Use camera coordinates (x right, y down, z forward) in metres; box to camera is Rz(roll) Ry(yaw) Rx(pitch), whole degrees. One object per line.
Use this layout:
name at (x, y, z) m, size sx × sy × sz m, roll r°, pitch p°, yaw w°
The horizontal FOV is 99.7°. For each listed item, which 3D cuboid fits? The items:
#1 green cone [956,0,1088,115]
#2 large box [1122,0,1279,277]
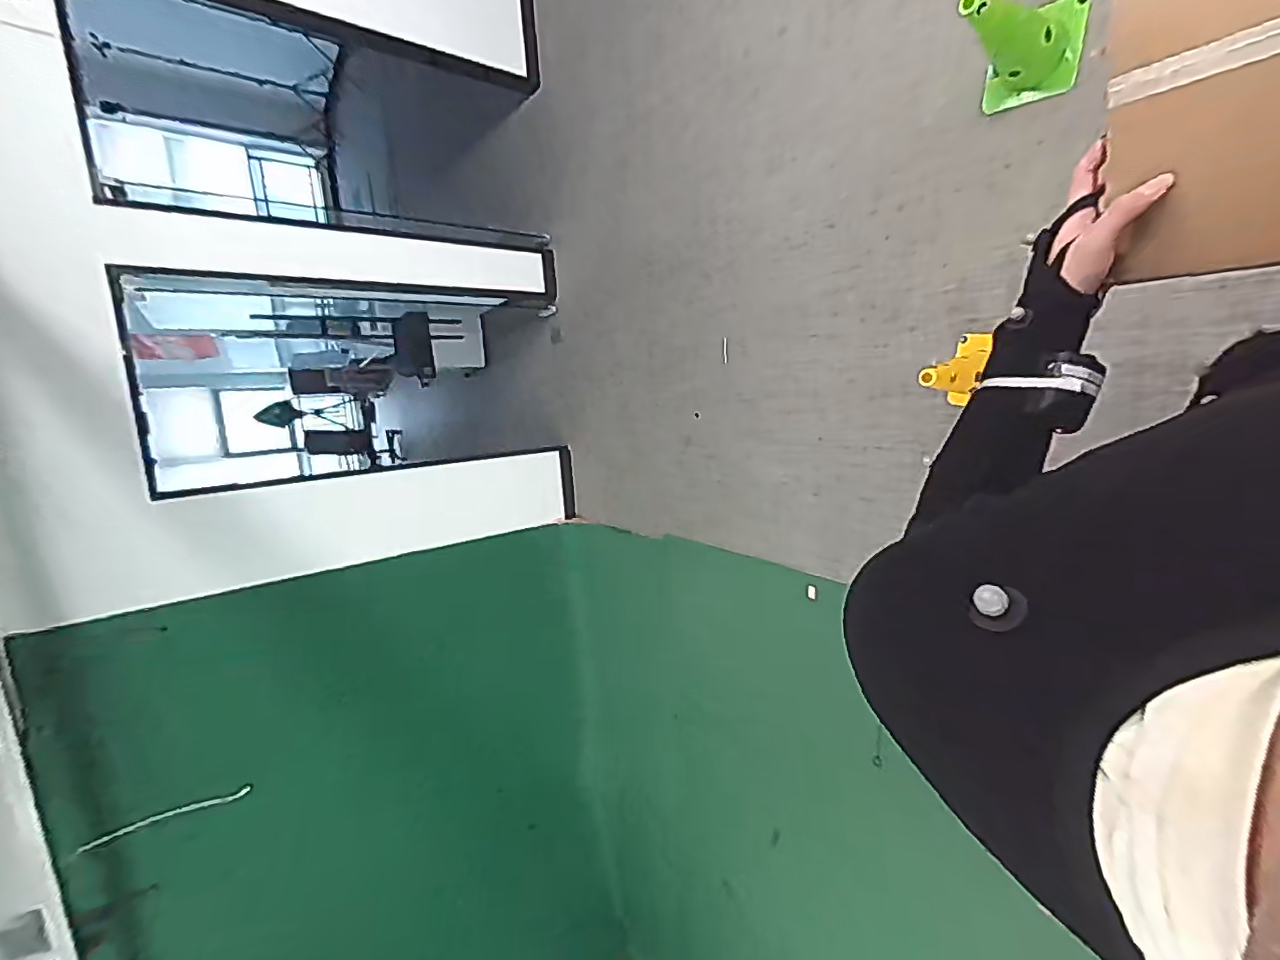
green cone at (0.814, -0.998, 1.217) m, size 0.200 × 0.368 × 0.202 m, roll 18°, pitch 114°, yaw 52°
large box at (0.632, -0.364, 0.371) m, size 0.408 × 0.320 × 0.320 m, roll 10°, pitch 122°, yaw 52°
